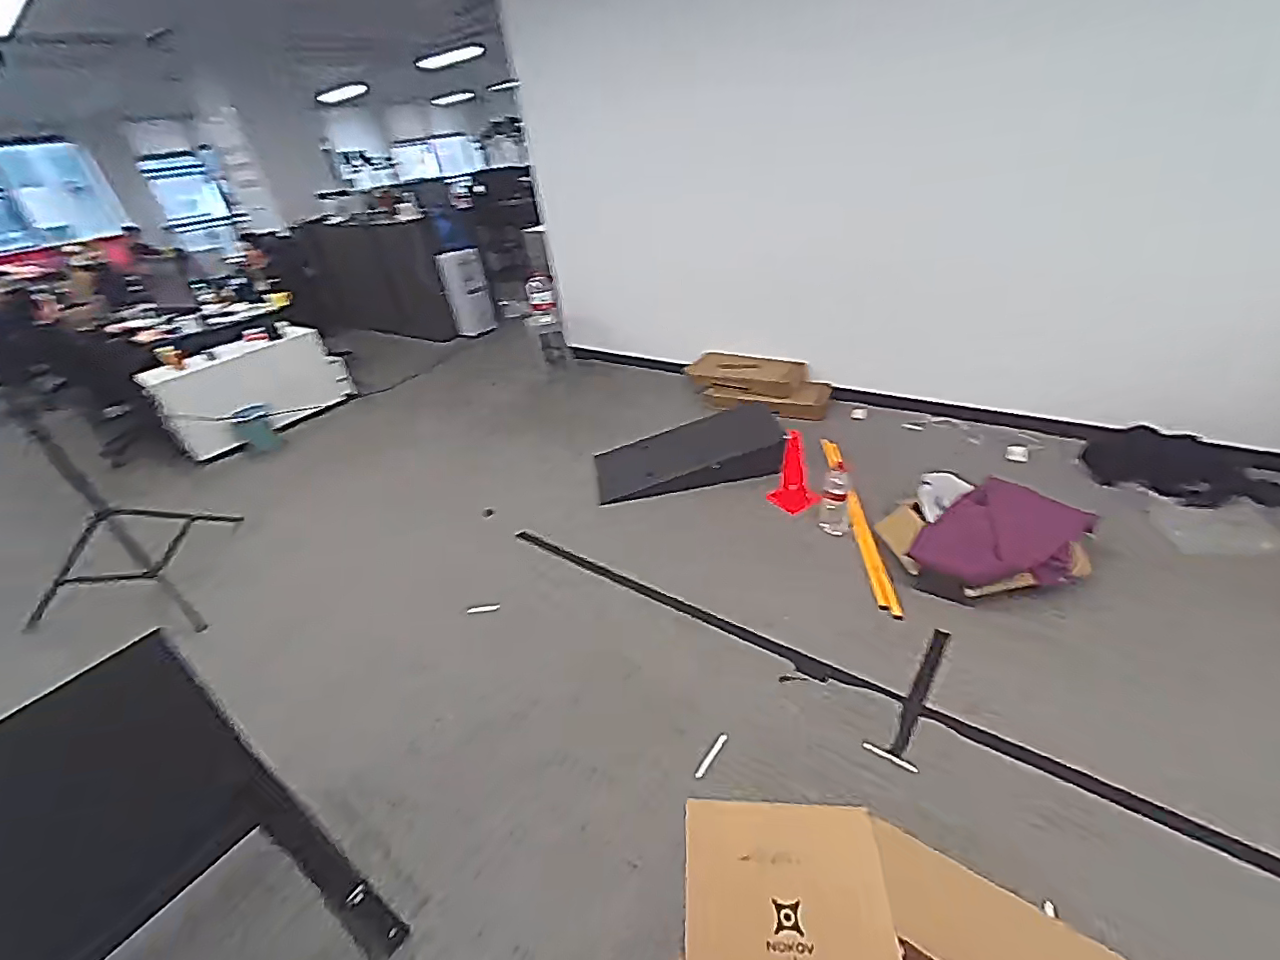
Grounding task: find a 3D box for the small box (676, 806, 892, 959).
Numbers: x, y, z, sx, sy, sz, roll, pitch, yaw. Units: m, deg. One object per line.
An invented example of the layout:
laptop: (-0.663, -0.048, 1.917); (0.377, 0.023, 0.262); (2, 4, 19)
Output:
small box: (0.116, 0.416, 0.476); (0.168, 0.176, 0.179); (-1, 39, 4)
